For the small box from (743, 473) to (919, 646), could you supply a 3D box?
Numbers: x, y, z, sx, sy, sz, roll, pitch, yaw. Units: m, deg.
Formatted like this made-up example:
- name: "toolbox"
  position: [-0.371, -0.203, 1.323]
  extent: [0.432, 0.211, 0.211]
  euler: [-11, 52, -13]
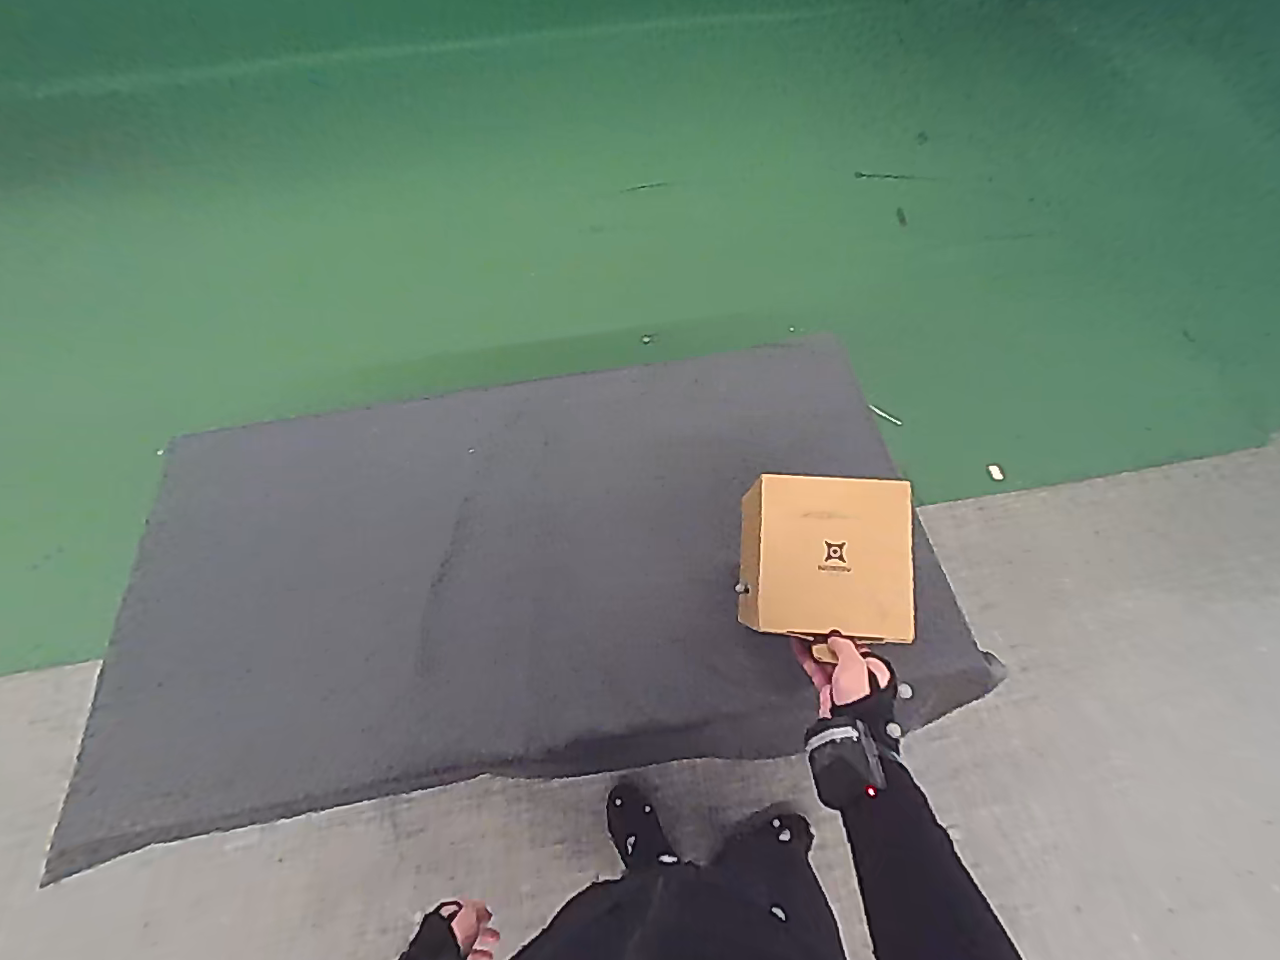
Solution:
- name: "small box"
  position: [0.222, 0.099, 0.665]
  extent: [0.168, 0.176, 0.179]
  euler: [5, 78, 3]
